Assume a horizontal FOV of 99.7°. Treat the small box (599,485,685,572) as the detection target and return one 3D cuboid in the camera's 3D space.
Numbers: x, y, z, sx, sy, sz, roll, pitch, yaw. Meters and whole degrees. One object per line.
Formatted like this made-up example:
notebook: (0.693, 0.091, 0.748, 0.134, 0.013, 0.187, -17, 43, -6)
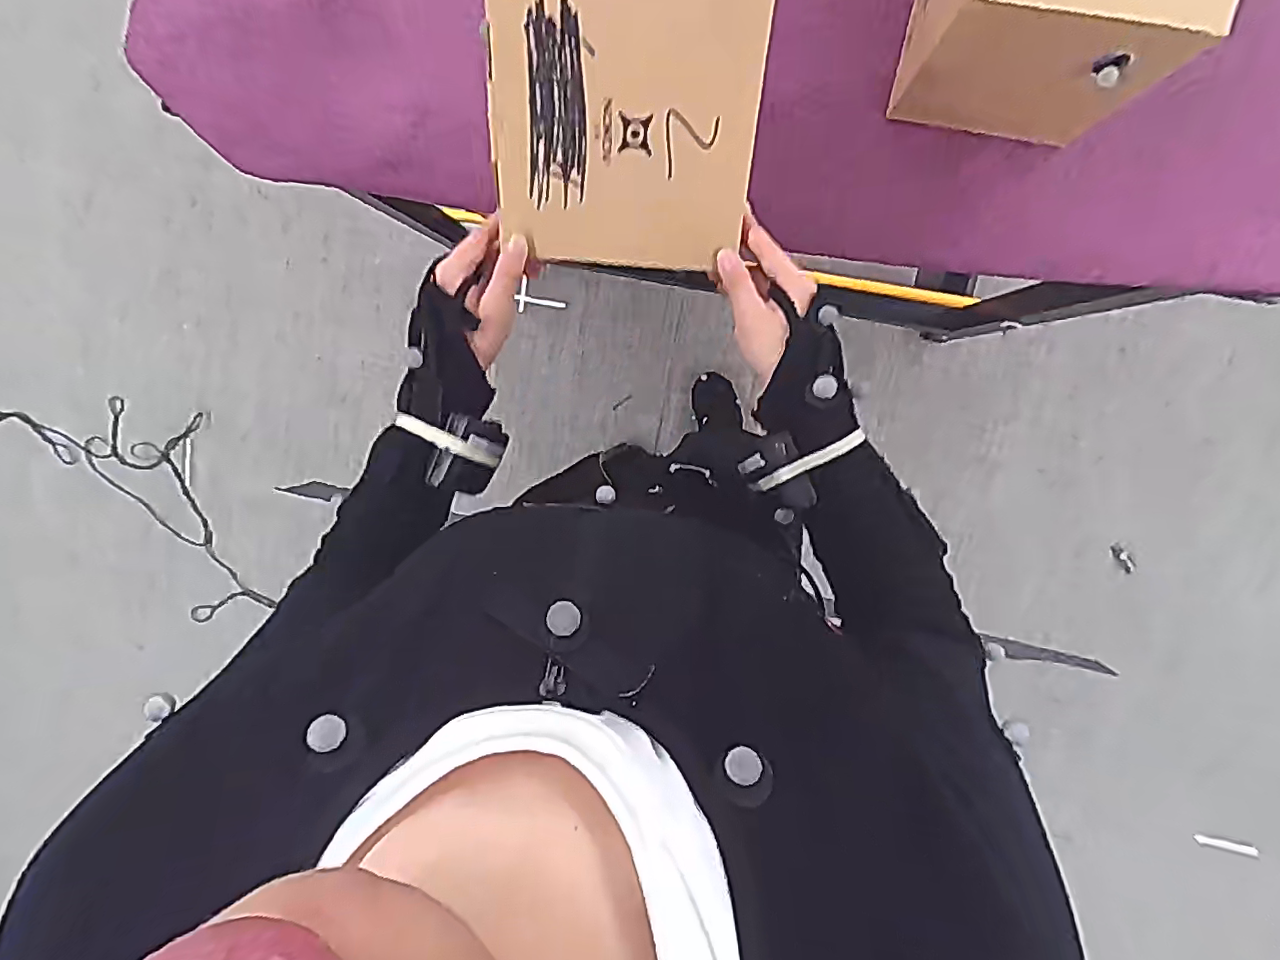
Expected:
small box: (0.001, 0.110, 1.288, 0.179, 0.176, 0.168, 12, 94, -1)
